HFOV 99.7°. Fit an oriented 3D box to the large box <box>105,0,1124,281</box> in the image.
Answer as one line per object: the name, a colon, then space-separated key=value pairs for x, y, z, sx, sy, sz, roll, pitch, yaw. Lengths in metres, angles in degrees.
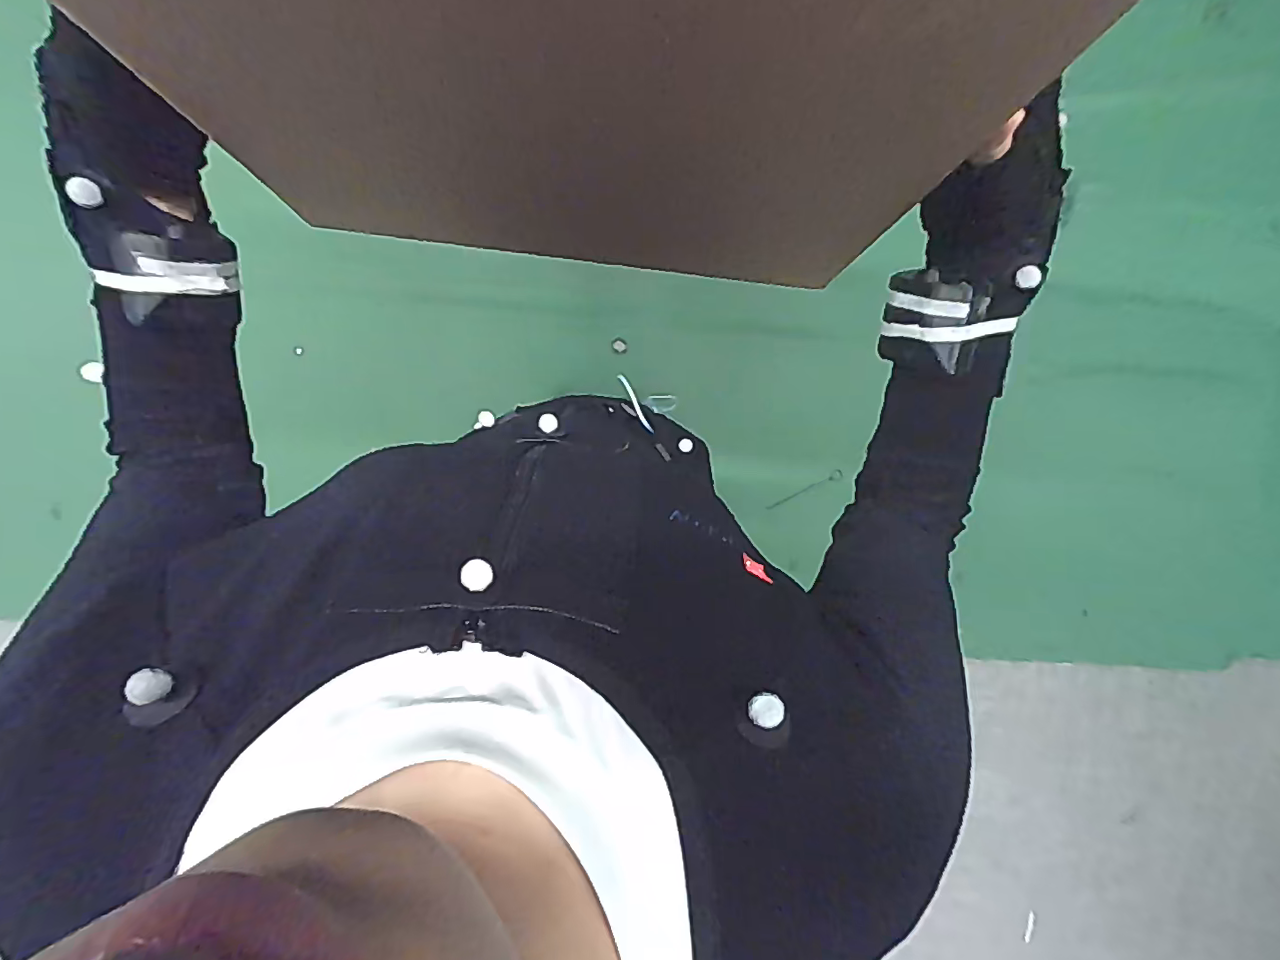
large box: x=-0.020 y=-0.329 z=0.278 sx=0.408 sy=0.320 sz=0.320 roll=6 pitch=89 yaw=-4
